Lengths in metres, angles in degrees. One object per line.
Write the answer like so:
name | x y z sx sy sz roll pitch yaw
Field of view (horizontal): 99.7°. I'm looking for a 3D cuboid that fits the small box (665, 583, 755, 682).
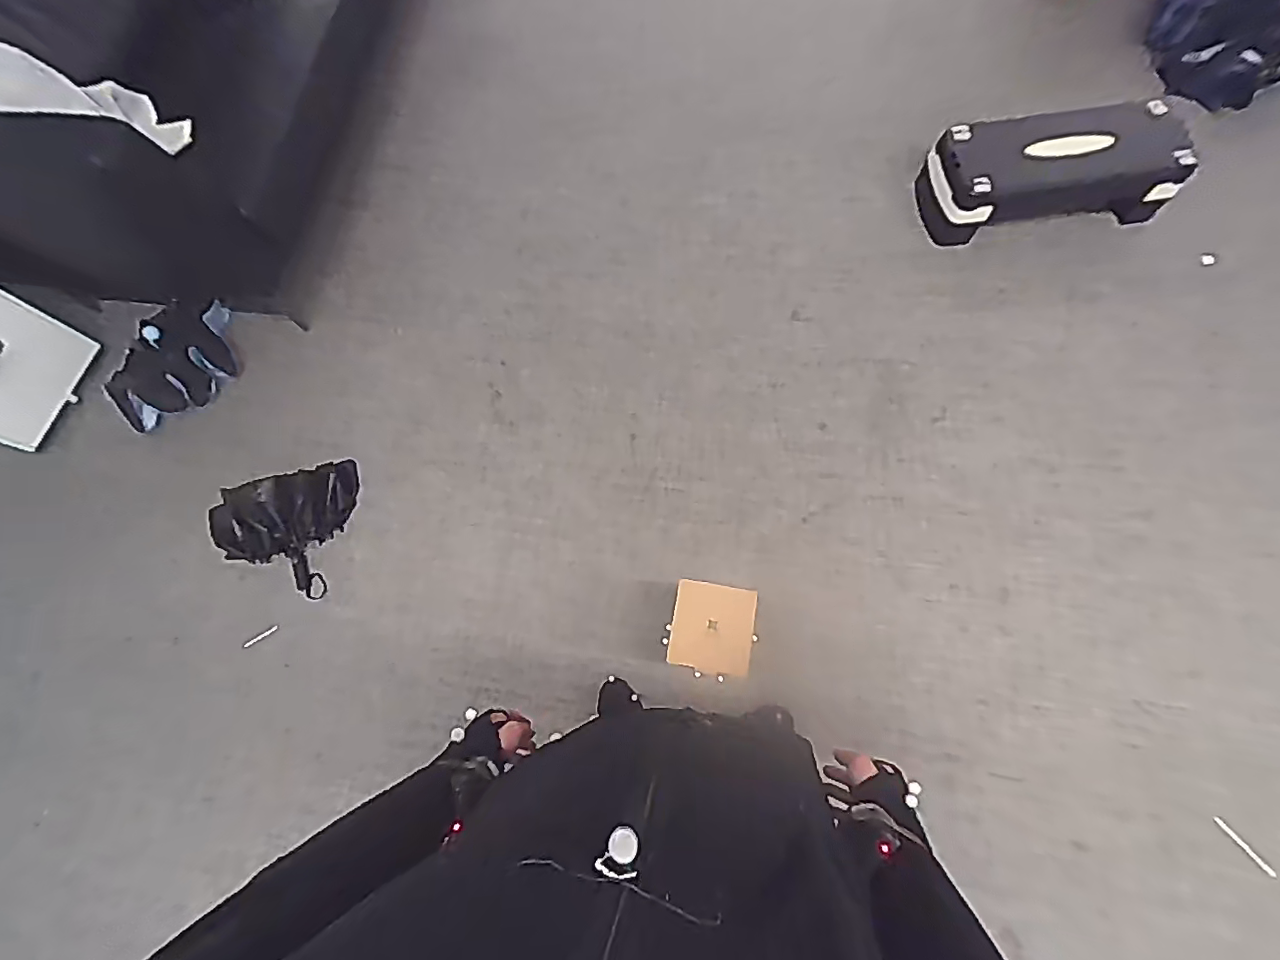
small box | 0.152 0.335 1.183 0.168 0.176 0.179 8 71 6
